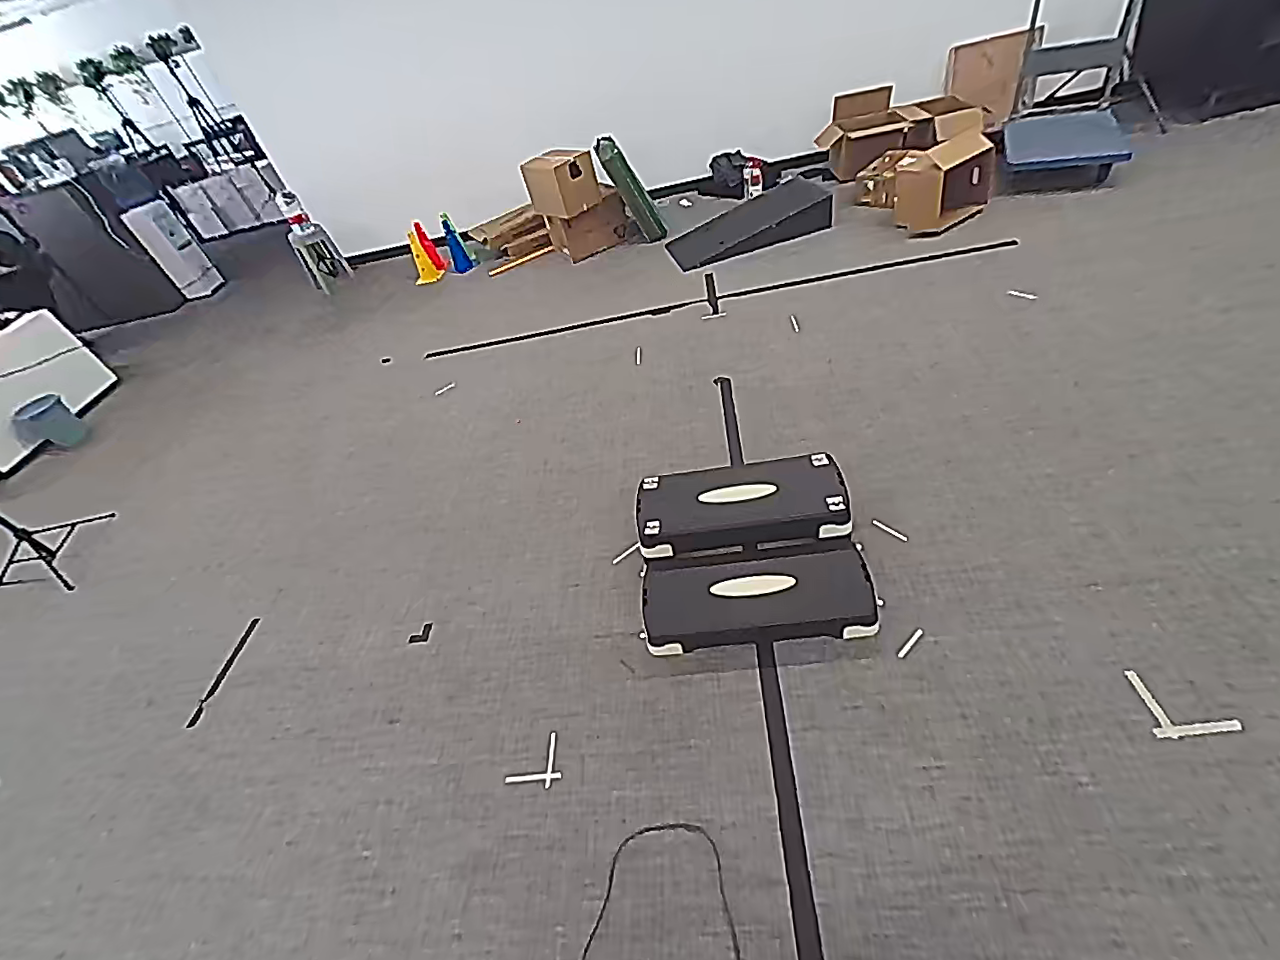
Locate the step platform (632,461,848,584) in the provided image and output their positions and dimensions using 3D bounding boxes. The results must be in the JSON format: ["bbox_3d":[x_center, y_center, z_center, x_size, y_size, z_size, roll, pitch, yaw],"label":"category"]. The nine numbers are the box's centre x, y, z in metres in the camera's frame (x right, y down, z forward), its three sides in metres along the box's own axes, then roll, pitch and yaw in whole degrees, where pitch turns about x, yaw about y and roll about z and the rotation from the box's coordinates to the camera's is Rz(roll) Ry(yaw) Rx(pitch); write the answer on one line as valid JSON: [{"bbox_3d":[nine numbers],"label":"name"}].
[{"bbox_3d":[0.314,0.135,1.776,0.684,0.204,0.286,-8,44,7],"label":"step platform"}]
